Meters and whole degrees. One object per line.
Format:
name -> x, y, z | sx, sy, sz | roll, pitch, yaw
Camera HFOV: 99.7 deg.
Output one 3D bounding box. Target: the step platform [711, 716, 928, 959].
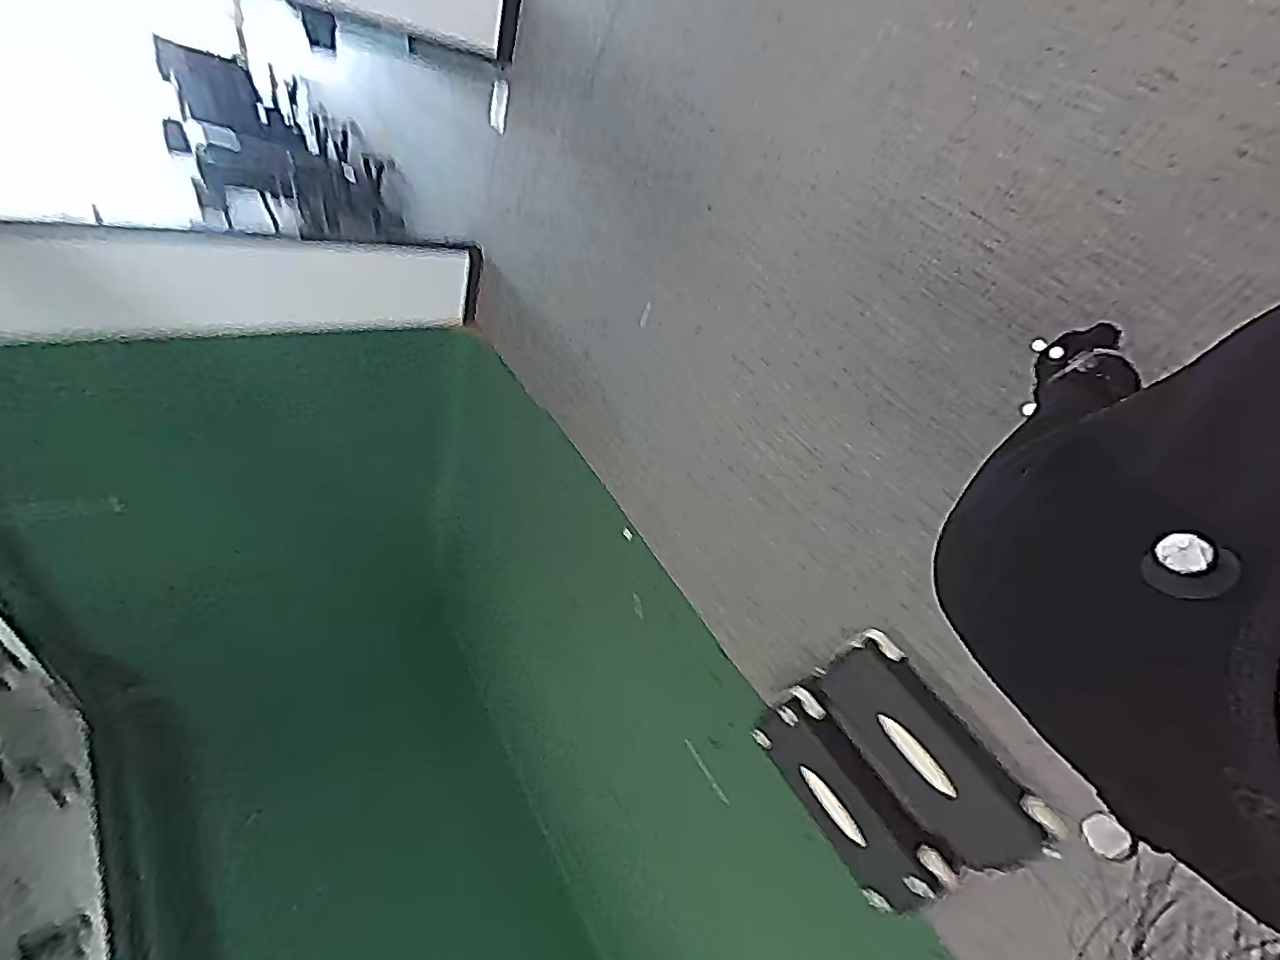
step platform -> 0.536, 1.106, 1.688 | 0.684, 0.204, 0.286 | 50, 135, 26
